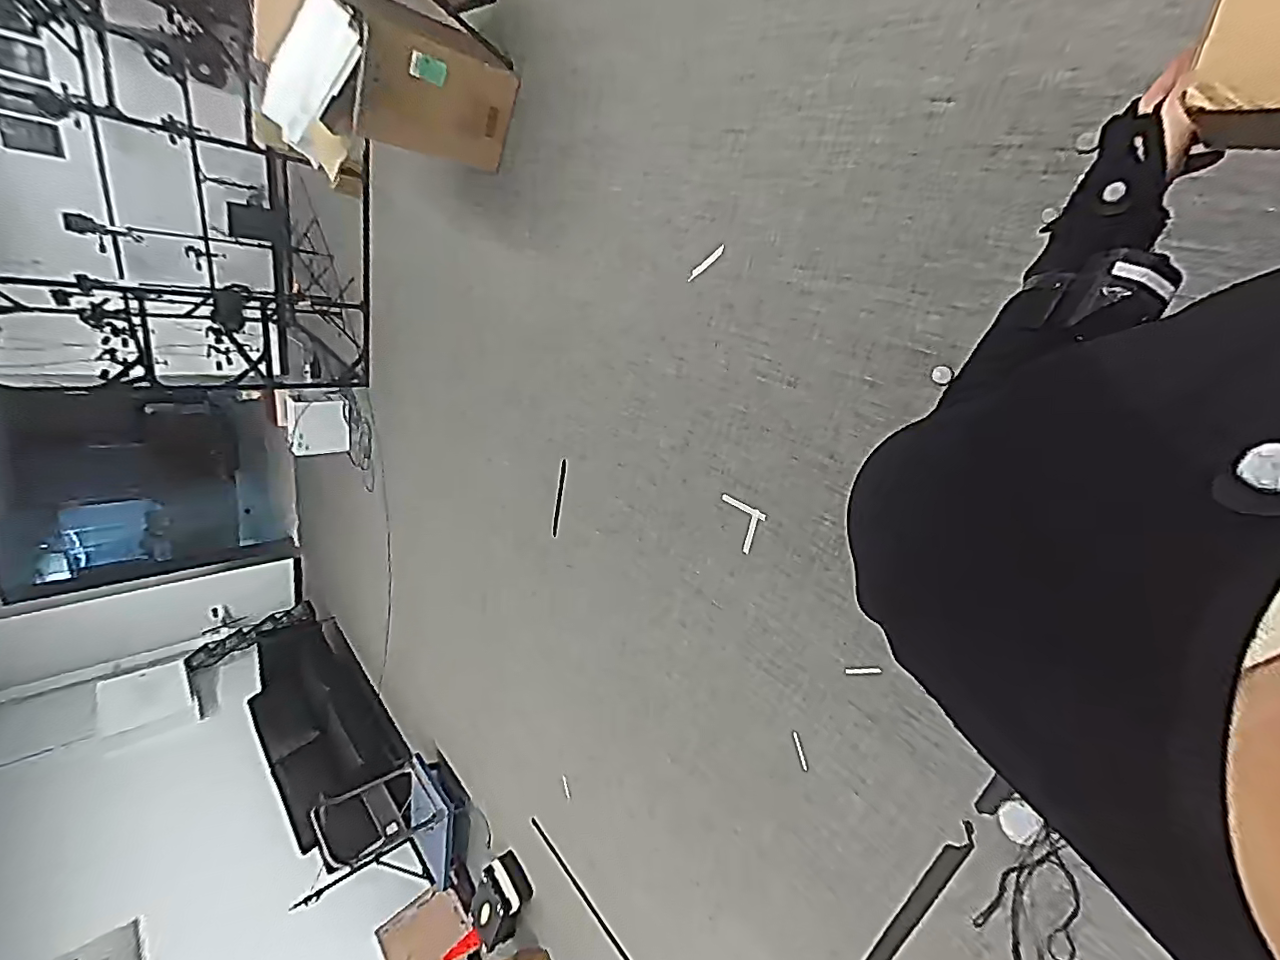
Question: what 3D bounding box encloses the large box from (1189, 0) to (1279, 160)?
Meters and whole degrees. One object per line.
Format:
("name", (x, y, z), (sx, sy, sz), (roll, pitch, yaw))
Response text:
("large box", (0.480, -0.279, 0.143), (0.408, 0.320, 0.320), (24, 127, 37))
